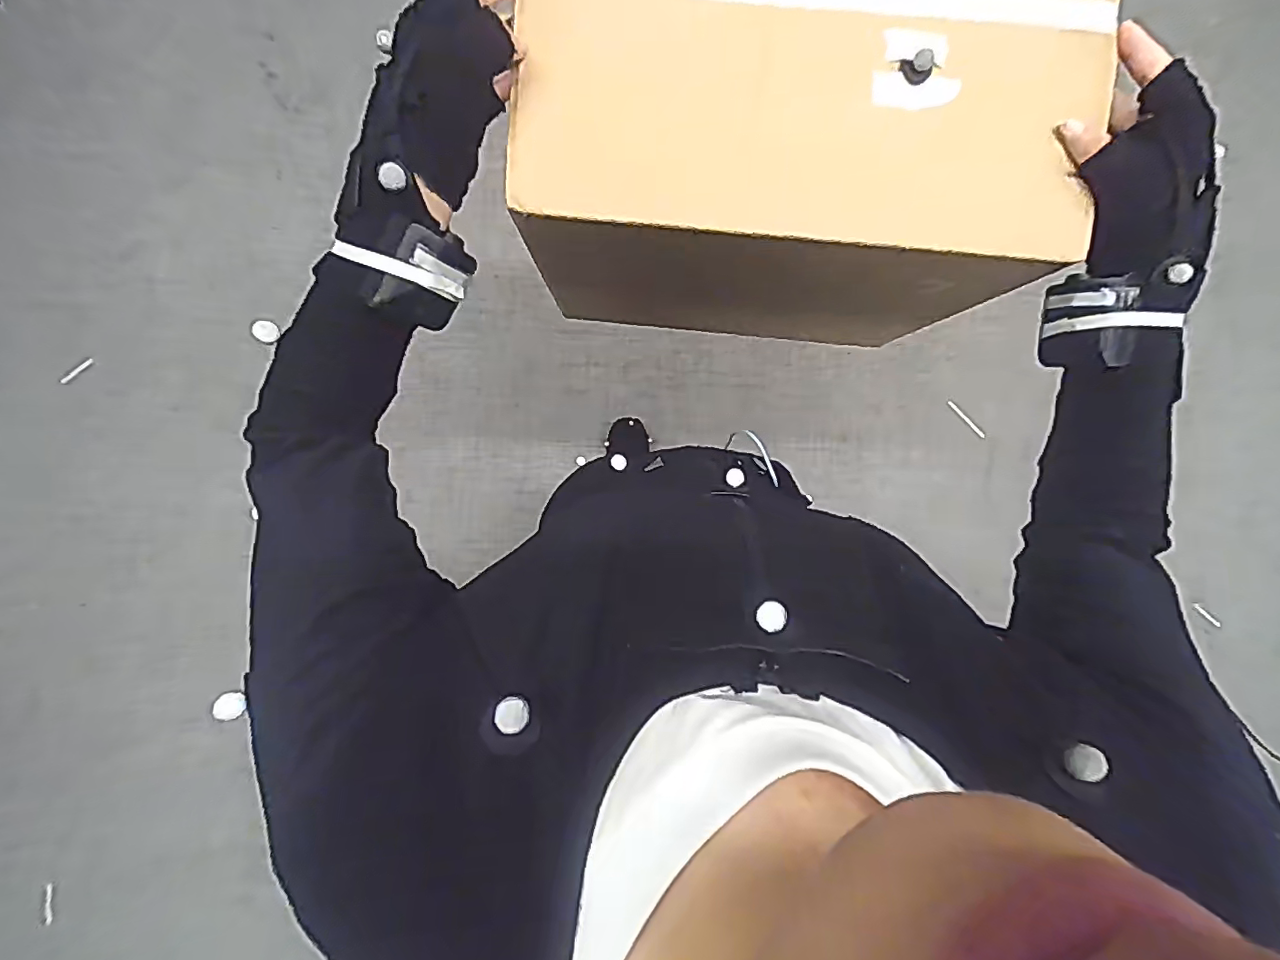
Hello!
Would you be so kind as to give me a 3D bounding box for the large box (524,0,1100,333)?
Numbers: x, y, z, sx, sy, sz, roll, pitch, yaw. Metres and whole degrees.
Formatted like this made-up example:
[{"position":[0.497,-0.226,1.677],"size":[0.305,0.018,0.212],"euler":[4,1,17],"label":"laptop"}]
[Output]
[{"position":[0.118,-0.340,0.523],"size":[0.408,0.320,0.320],"euler":[4,94,-2],"label":"large box"}]
